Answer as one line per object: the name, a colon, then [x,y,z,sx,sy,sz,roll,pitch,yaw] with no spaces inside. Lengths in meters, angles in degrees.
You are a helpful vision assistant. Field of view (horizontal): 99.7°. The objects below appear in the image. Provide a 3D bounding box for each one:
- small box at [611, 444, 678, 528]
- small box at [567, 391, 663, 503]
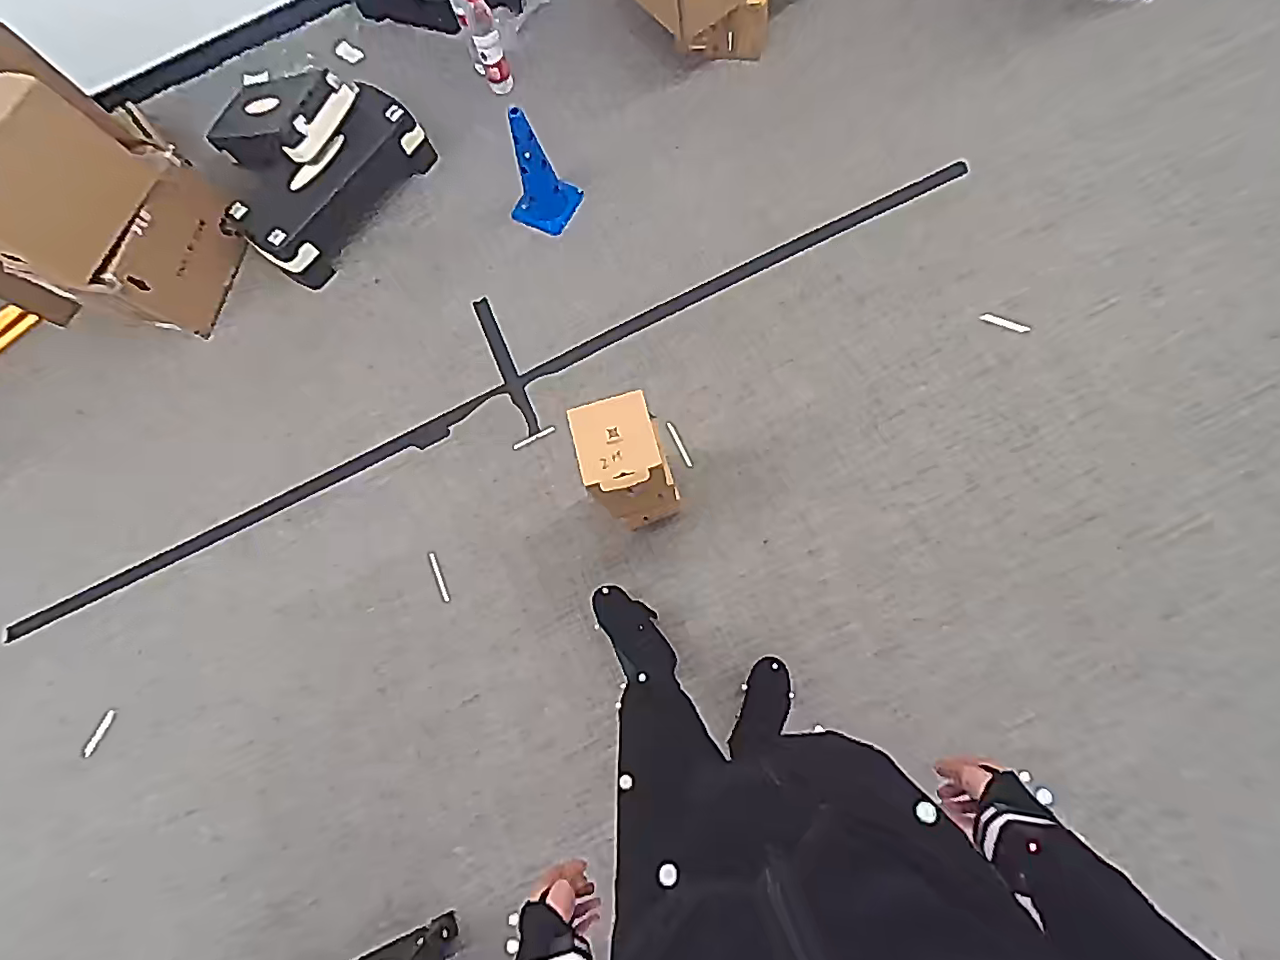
small box: [0.002,0.023,1.492,0.168,0.176,0.179,-22,74,0]
small box: [-0.050,-0.065,1.178,0.168,0.176,0.179,-15,74,2]
